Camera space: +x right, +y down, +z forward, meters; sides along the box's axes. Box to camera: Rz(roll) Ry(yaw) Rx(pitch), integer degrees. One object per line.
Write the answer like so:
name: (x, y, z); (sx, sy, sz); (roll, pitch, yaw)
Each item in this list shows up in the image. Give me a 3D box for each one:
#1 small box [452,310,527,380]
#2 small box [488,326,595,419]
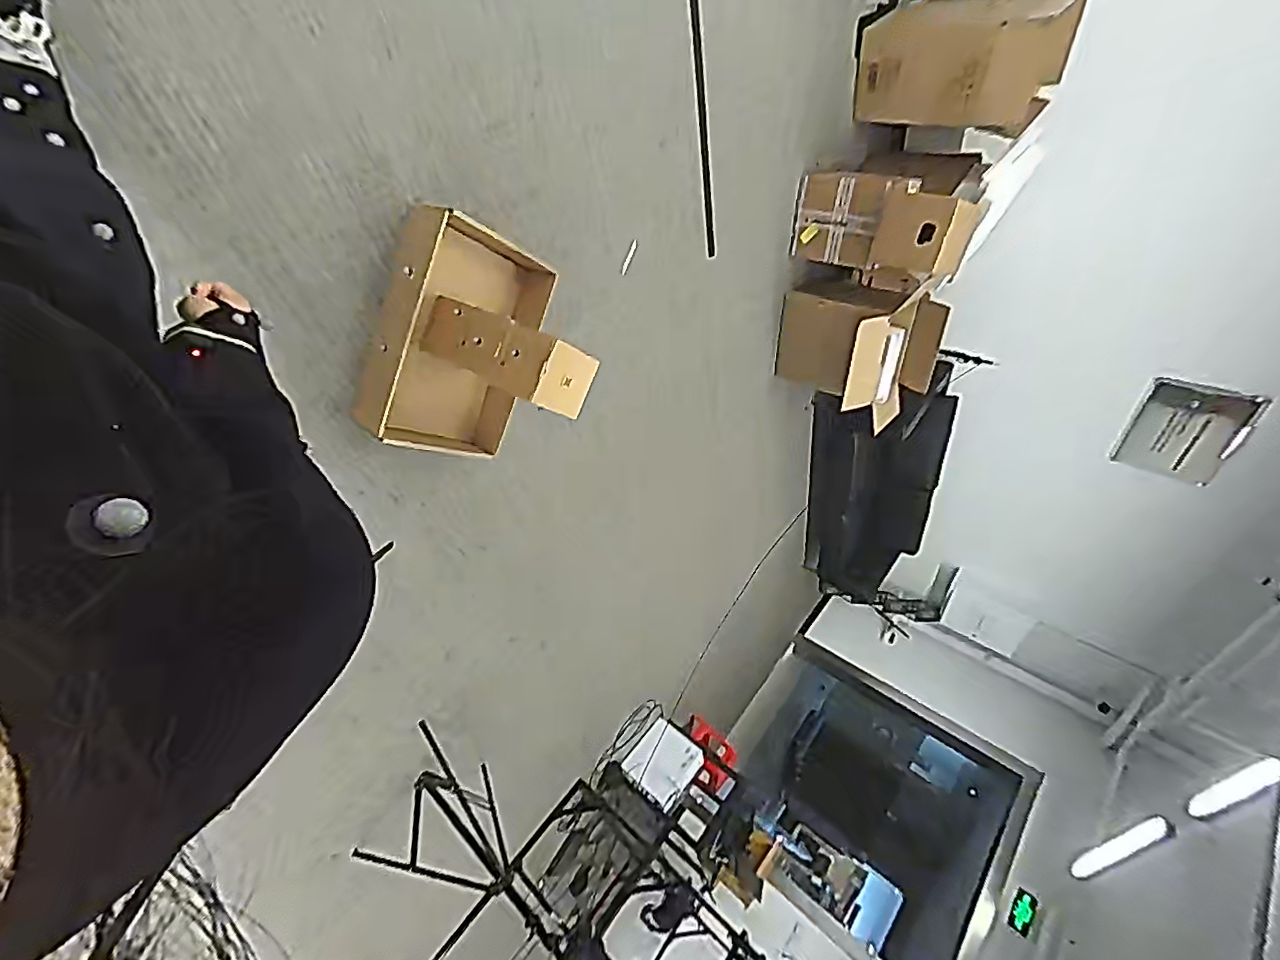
small box: (-0.377, -0.346, 1.467); (0.179, 0.176, 0.168); (17, 99, -56)
small box: (-0.252, -0.277, 1.386); (0.179, 0.176, 0.168); (15, 100, -57)
